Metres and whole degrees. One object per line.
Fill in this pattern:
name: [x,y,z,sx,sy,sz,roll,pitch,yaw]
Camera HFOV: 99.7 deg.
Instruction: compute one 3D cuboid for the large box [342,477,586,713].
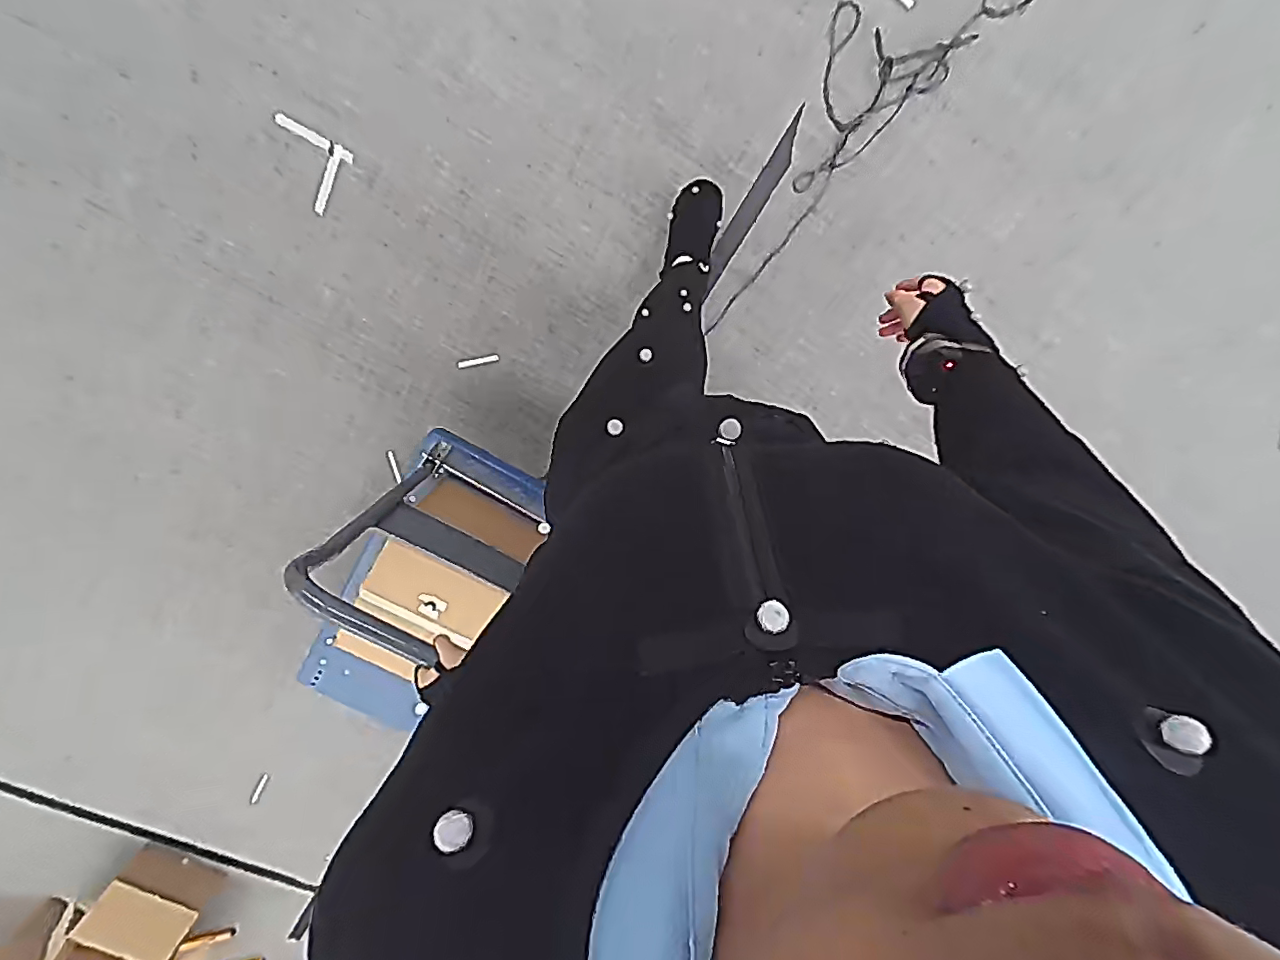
large box: [-0.382,0.256,1.272,0.408,0.320,0.320,31,106,-11]
